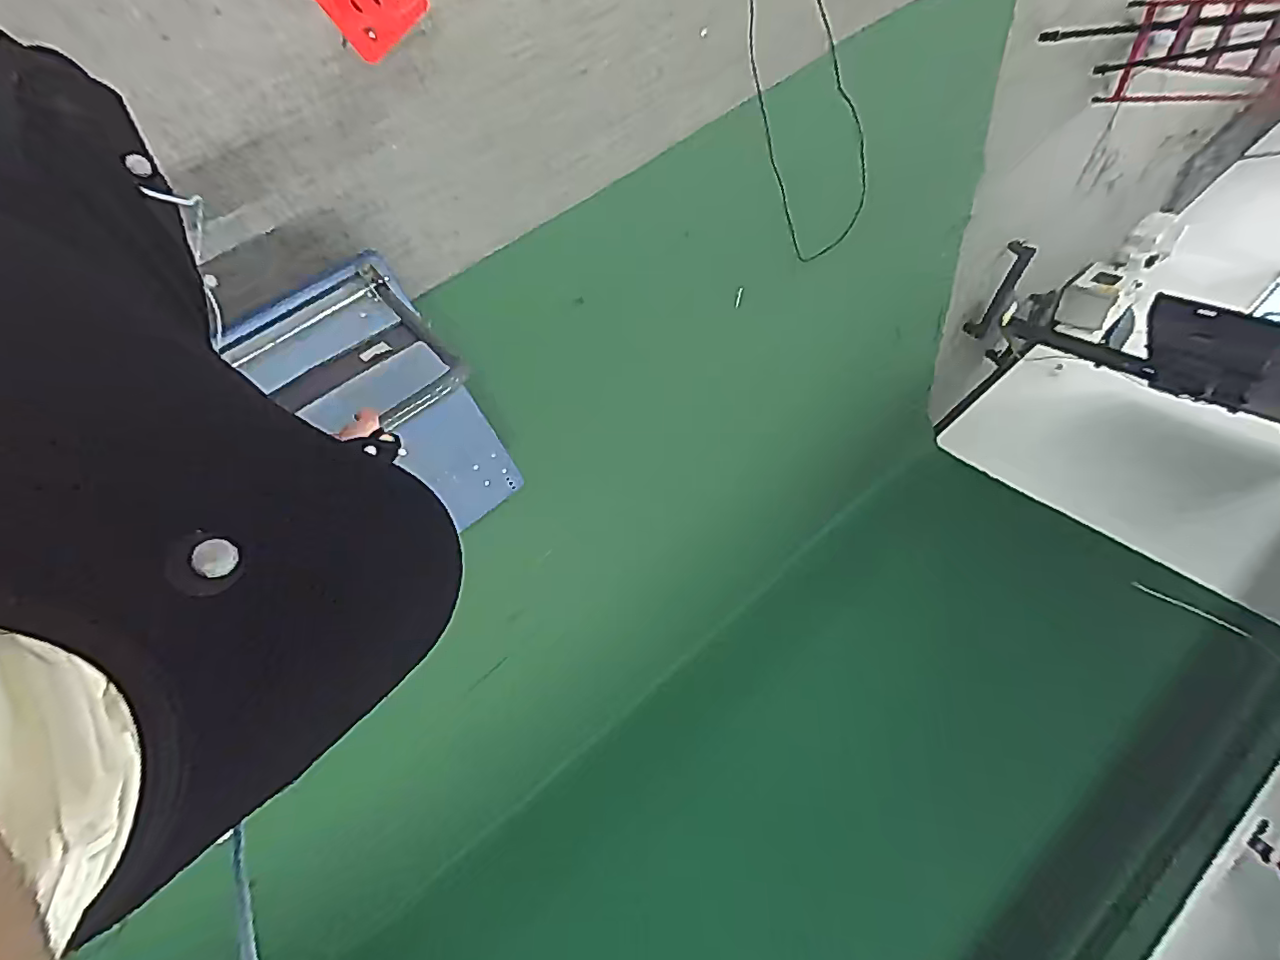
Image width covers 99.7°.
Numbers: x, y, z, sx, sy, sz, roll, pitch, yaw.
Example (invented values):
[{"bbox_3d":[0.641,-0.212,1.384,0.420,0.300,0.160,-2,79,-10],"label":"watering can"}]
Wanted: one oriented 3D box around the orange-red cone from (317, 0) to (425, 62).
[{"bbox_3d":[-0.474,-0.939,1.020,0.199,0.360,0.198,-48,143,-3],"label":"orange-red cone"}]
